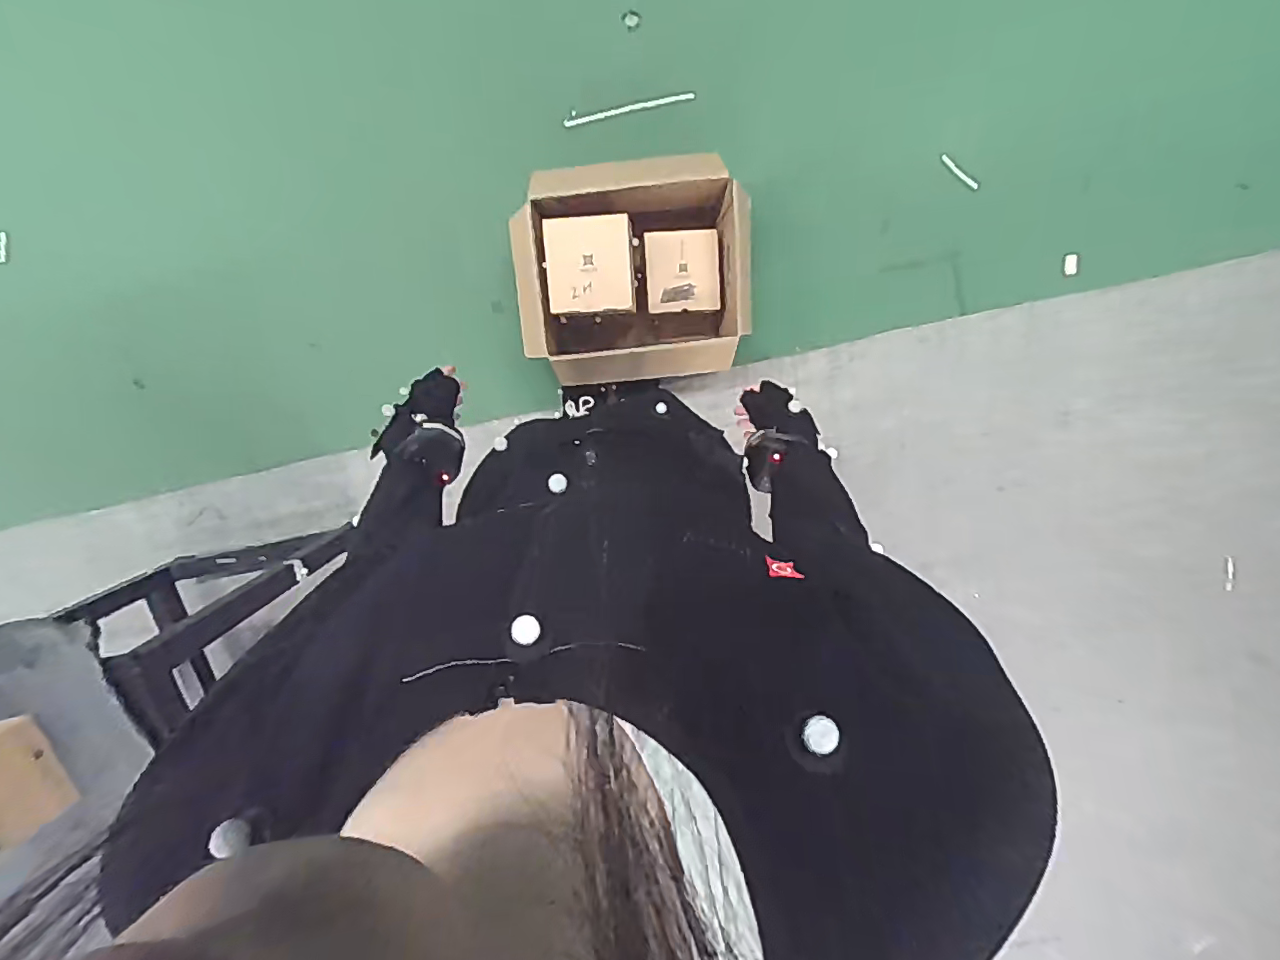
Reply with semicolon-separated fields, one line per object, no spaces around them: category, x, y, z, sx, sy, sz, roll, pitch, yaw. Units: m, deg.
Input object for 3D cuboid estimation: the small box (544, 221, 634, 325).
small box;-0.099;-0.423;1.127;0.168;0.176;0.179;-2;103;3
